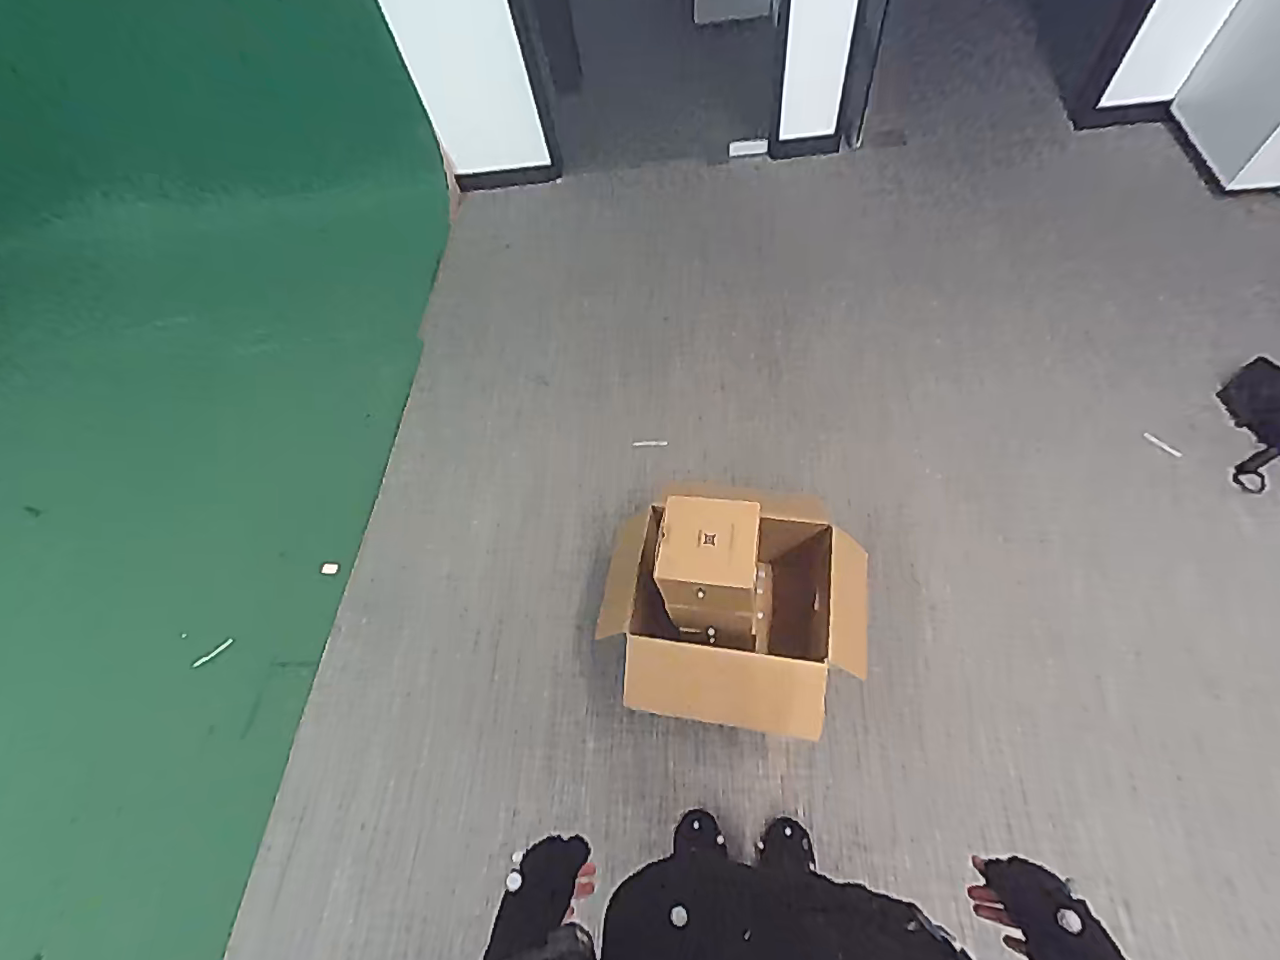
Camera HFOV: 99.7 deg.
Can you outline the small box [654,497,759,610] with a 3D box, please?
[{"bbox_3d":[0.135,0.146,1.047,0.179,0.176,0.168,4,63,12],"label":"small box"}]
